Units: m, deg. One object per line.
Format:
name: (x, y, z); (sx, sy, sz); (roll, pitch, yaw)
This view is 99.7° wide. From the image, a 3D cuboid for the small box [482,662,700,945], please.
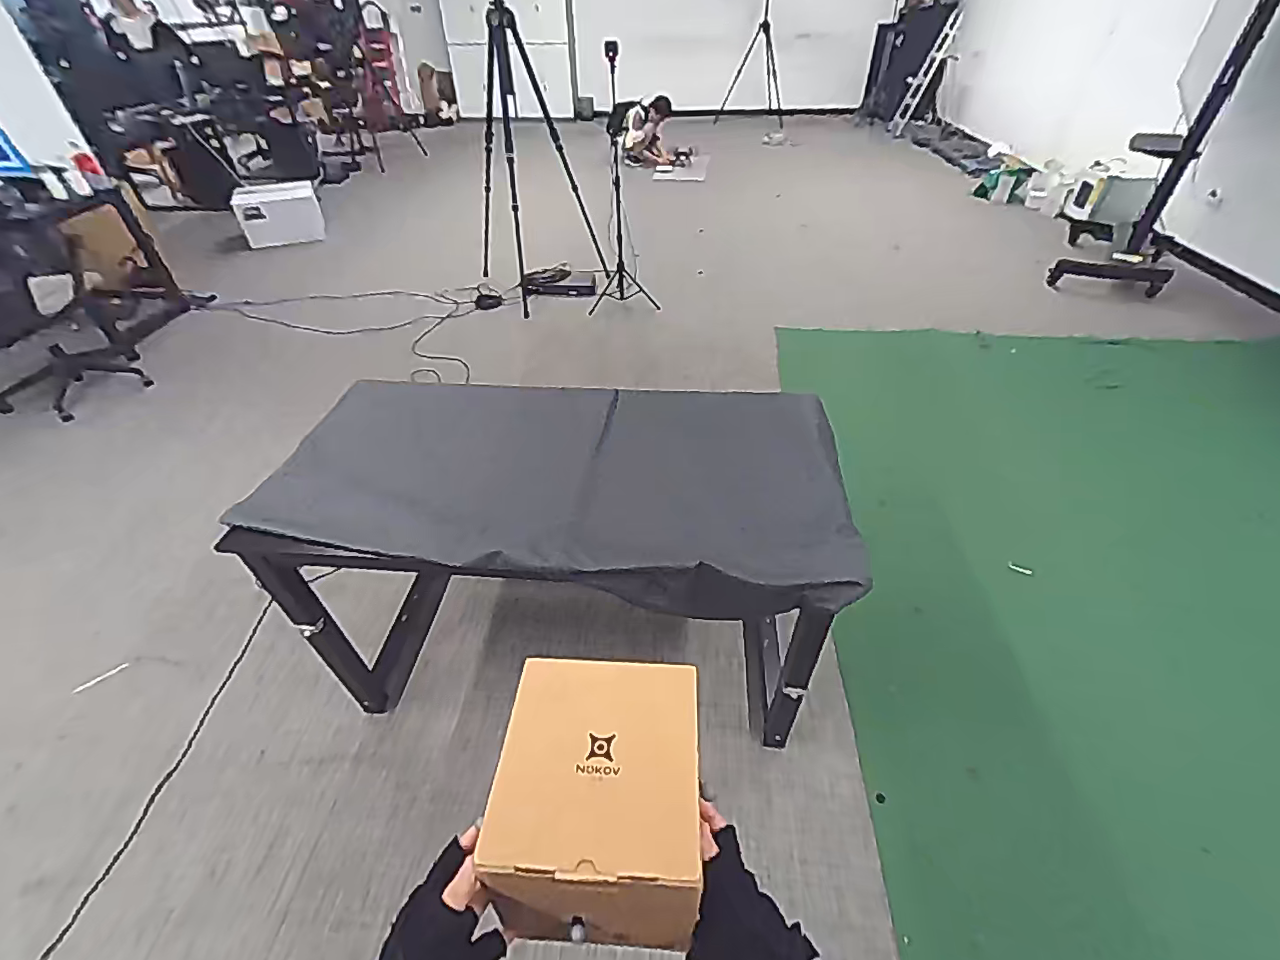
small box: (-0.032, 0.299, 0.510); (0.168, 0.176, 0.179); (2, 38, 3)
